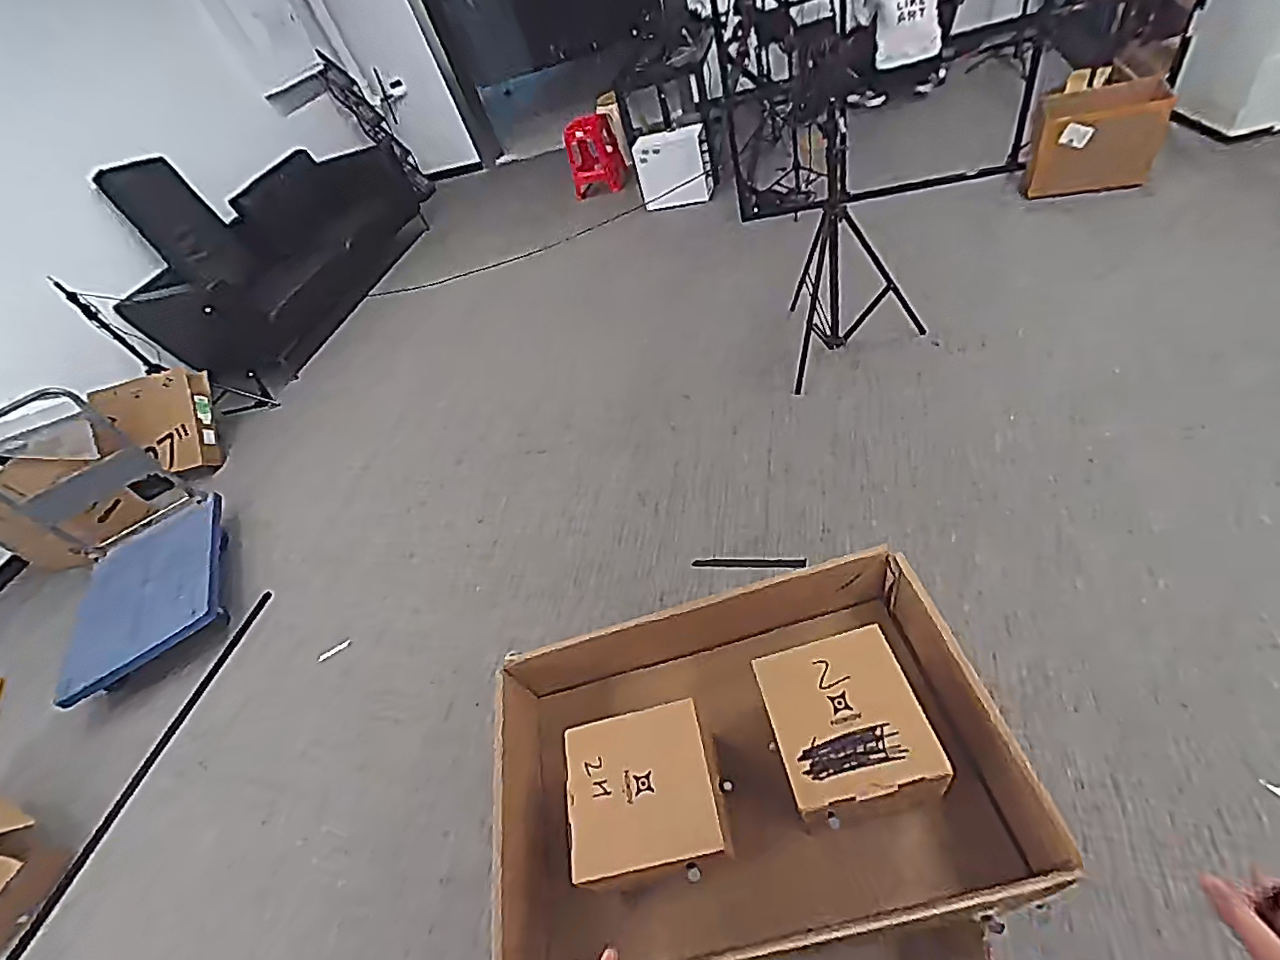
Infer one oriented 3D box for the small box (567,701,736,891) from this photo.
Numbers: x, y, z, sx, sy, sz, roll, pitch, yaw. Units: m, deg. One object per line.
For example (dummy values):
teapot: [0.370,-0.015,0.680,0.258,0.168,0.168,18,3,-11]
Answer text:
small box: [0.019,0.410,0.697,0.179,0.176,0.168,-17,47,6]
